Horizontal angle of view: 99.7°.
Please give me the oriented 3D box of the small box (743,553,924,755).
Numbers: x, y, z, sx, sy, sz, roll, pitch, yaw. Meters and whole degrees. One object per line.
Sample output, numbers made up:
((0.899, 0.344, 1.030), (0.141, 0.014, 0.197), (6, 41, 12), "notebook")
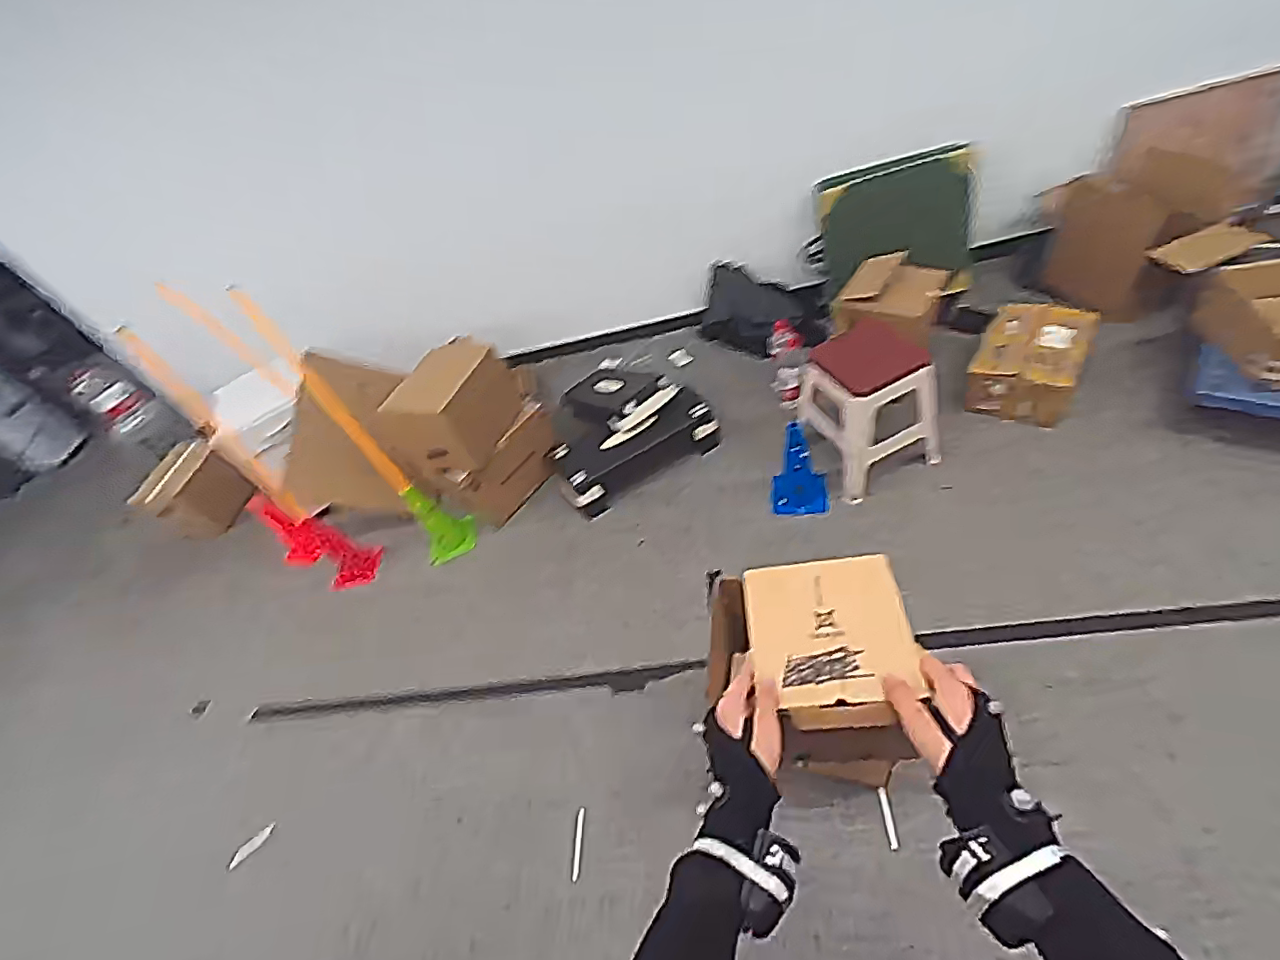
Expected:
((0.222, 0.214, 0.645), (0.168, 0.176, 0.179), (-9, 44, 13), "small box")
